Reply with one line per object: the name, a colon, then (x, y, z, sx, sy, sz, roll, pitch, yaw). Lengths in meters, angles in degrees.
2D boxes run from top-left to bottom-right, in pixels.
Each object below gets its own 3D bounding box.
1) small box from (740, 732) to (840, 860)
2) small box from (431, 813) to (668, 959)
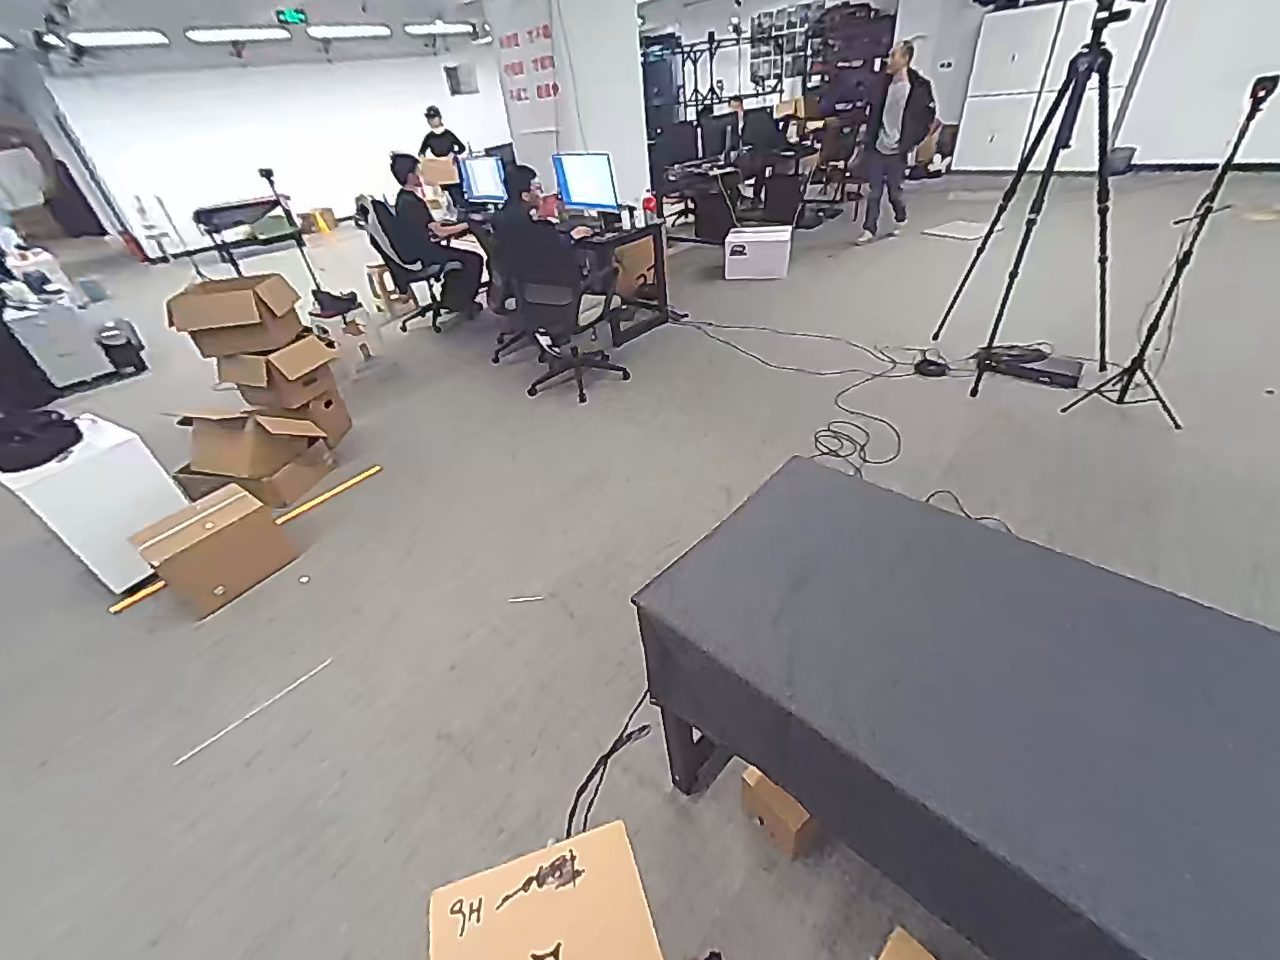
small box: (0.357, 0.770, 1.320, 0.179, 0.176, 0.168, -27, 40, -27)
small box: (-0.060, 0.414, 0.429, 0.168, 0.176, 0.179, -12, 38, -15)
